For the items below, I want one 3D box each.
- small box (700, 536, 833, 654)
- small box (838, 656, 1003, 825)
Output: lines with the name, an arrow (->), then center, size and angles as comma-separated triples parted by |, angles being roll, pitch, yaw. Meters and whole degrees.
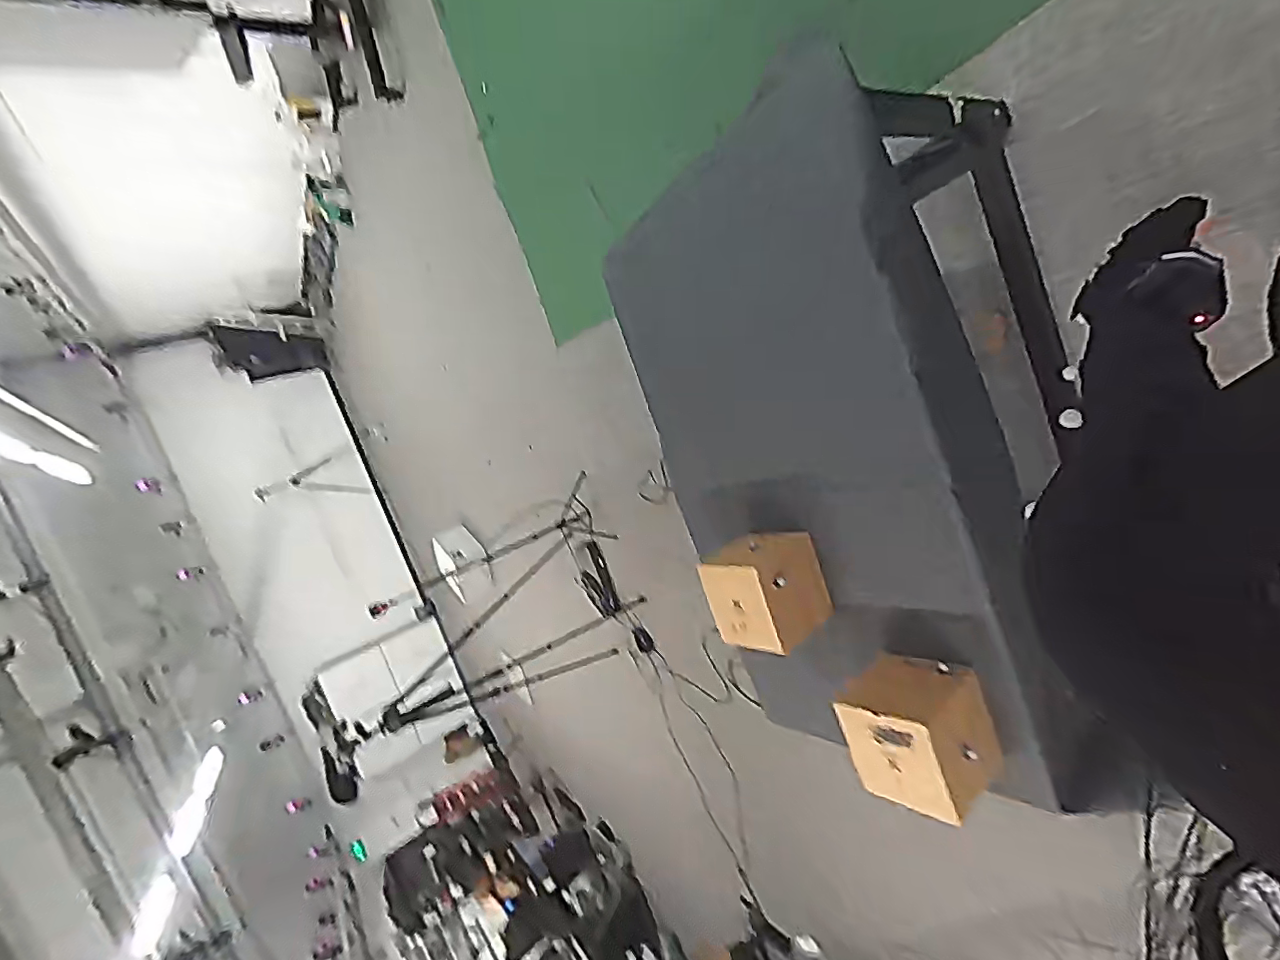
small box -> 0.255, 0.219, 1.087 | 0.168, 0.176, 0.179 | -11, 101, 55
small box -> 0.473, 0.422, 0.912 | 0.168, 0.176, 0.179 | -14, 99, 57
